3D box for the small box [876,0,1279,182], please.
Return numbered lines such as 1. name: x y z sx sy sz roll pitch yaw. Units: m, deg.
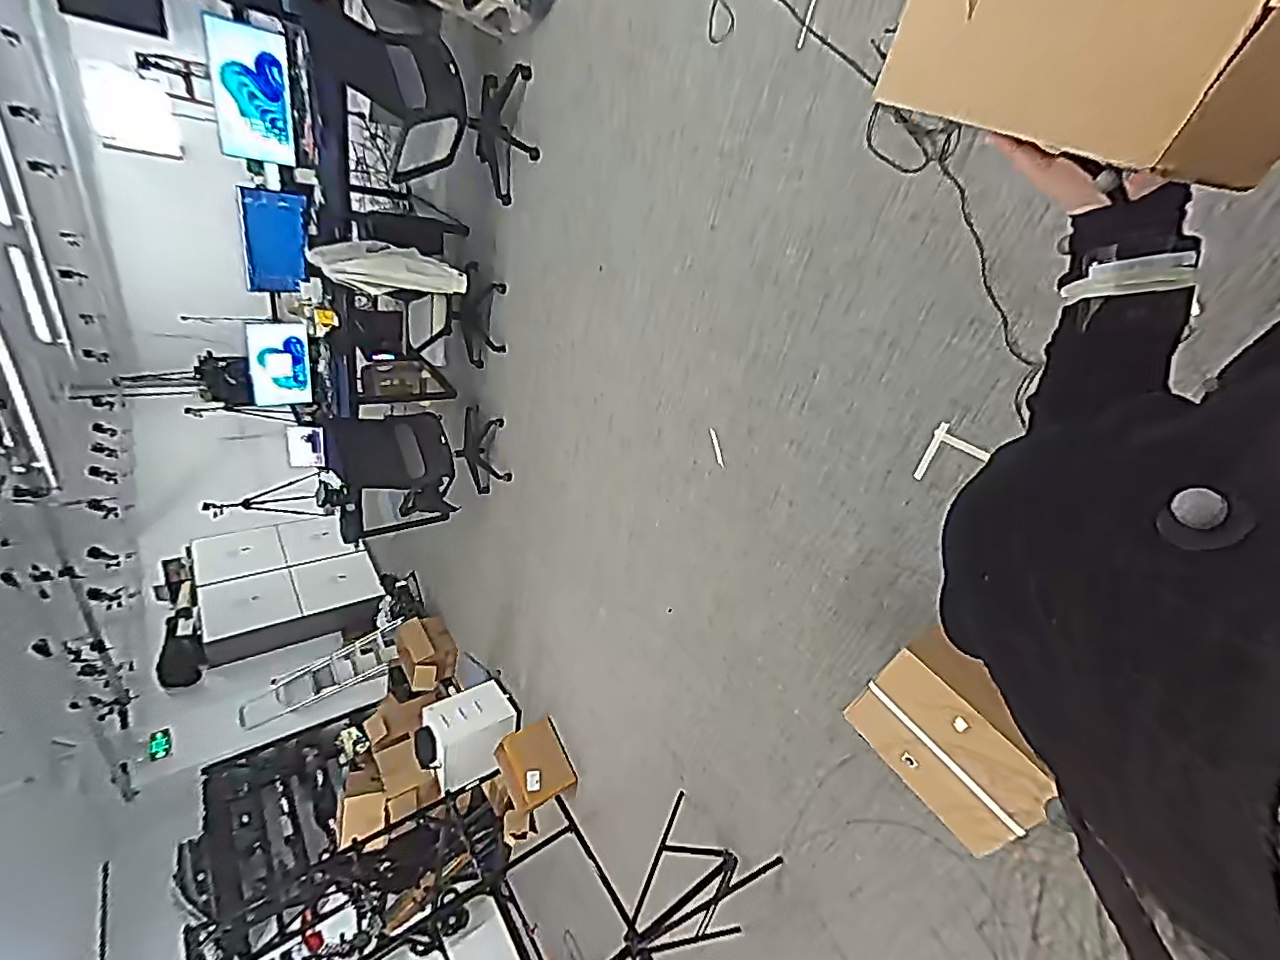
1. small box: 0.280 -0.275 0.294 0.179 0.176 0.168 50 141 37
